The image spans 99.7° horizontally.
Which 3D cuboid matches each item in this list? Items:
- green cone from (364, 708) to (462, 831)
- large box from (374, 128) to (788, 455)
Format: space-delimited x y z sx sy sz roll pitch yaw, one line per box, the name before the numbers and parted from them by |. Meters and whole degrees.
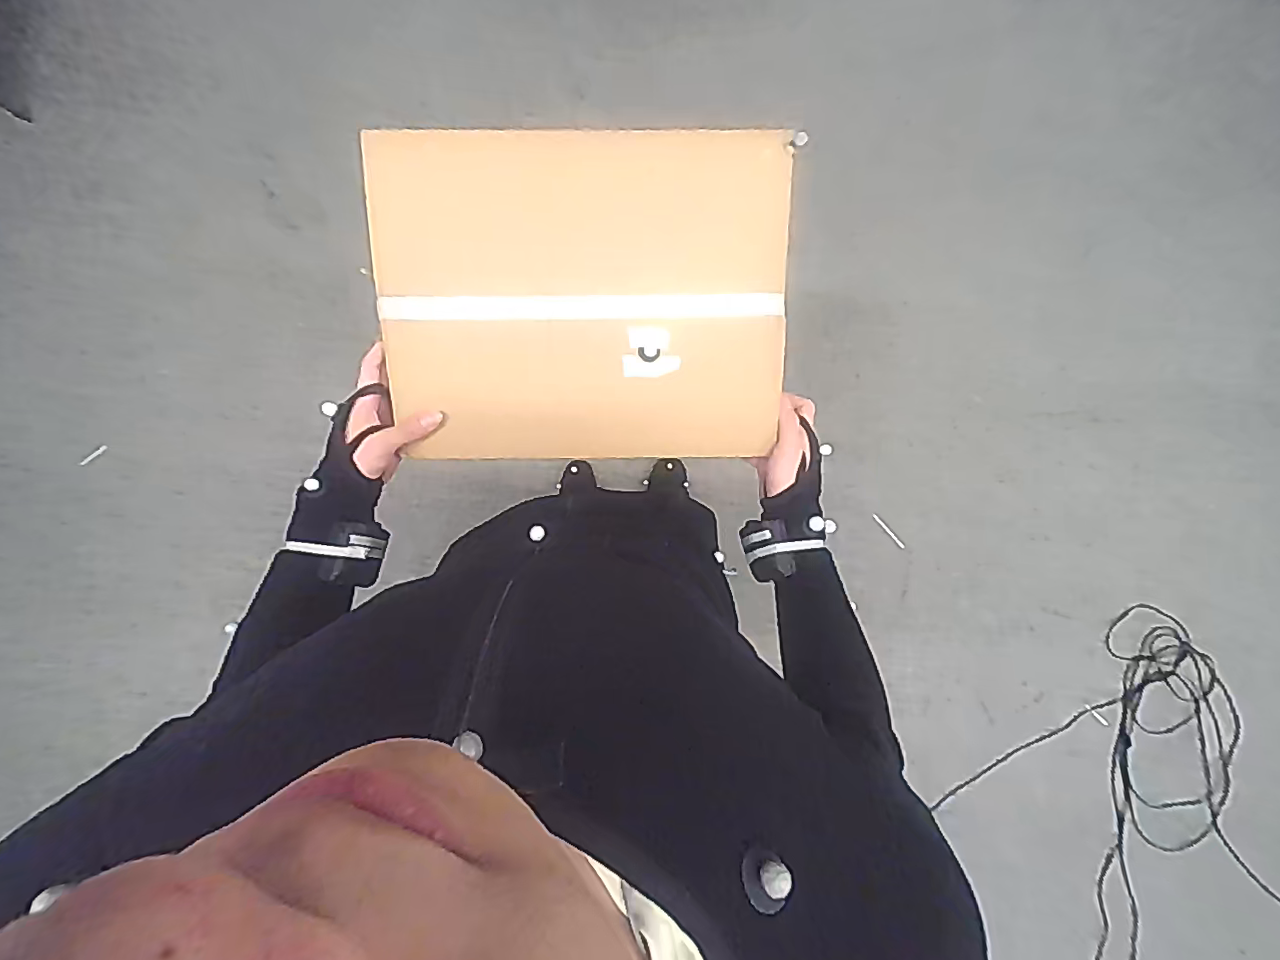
green cone | -0.649 0.809 1.474 0.200 0.368 0.202 9 93 -1
large box | -0.057 -0.217 0.693 0.408 0.320 0.320 -1 105 -1
